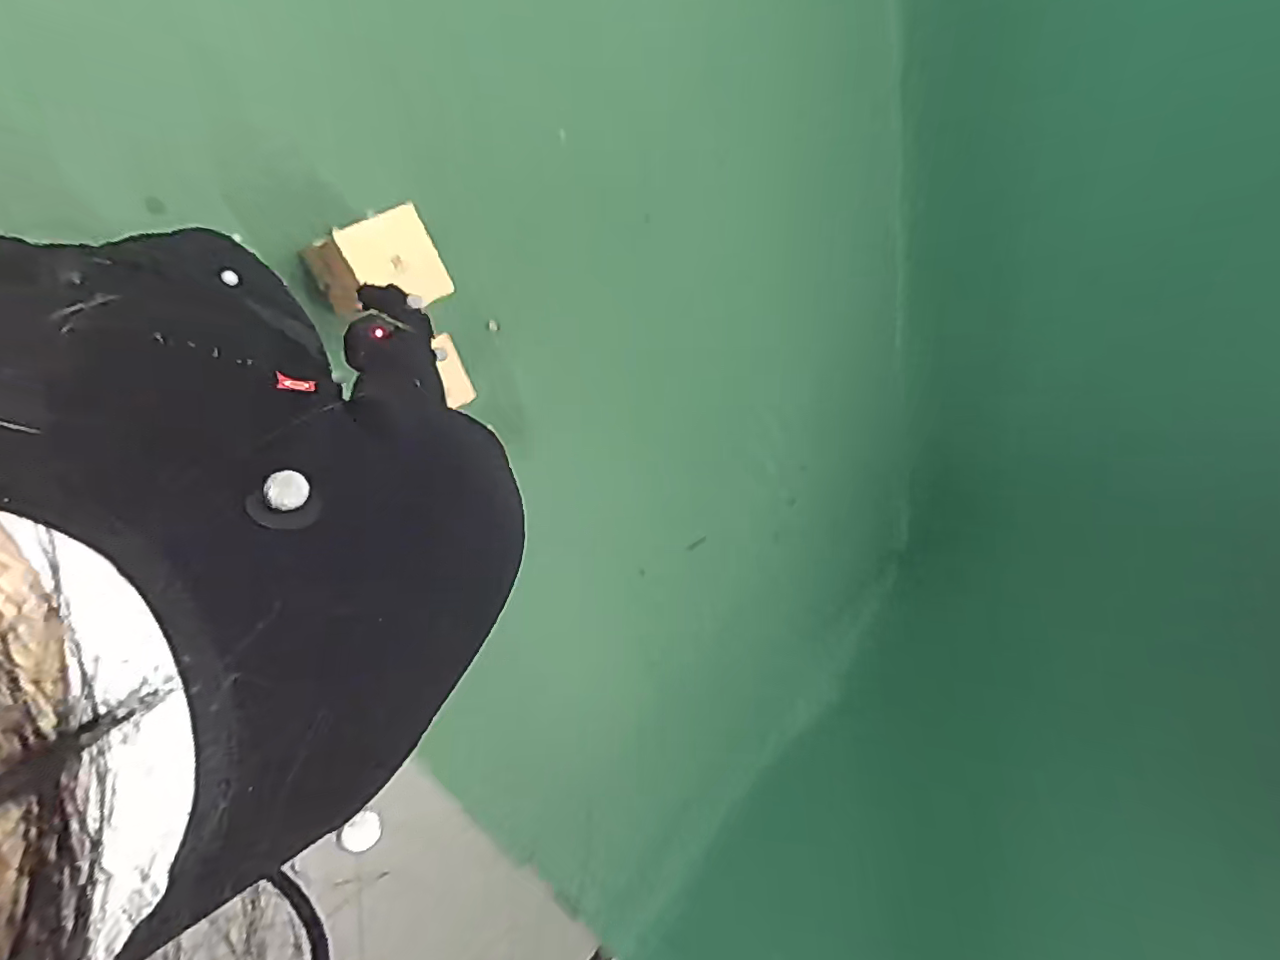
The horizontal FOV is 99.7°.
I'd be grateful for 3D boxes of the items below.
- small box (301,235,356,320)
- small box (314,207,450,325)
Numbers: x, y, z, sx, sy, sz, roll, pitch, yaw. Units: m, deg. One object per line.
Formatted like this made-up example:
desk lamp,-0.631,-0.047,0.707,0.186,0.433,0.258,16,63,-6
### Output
small box,-0.639,-0.476,1.228,0.179,0.176,0.168,-37,126,-26
small box,-0.532,-0.434,1.111,0.168,0.176,0.179,-39,126,-26
